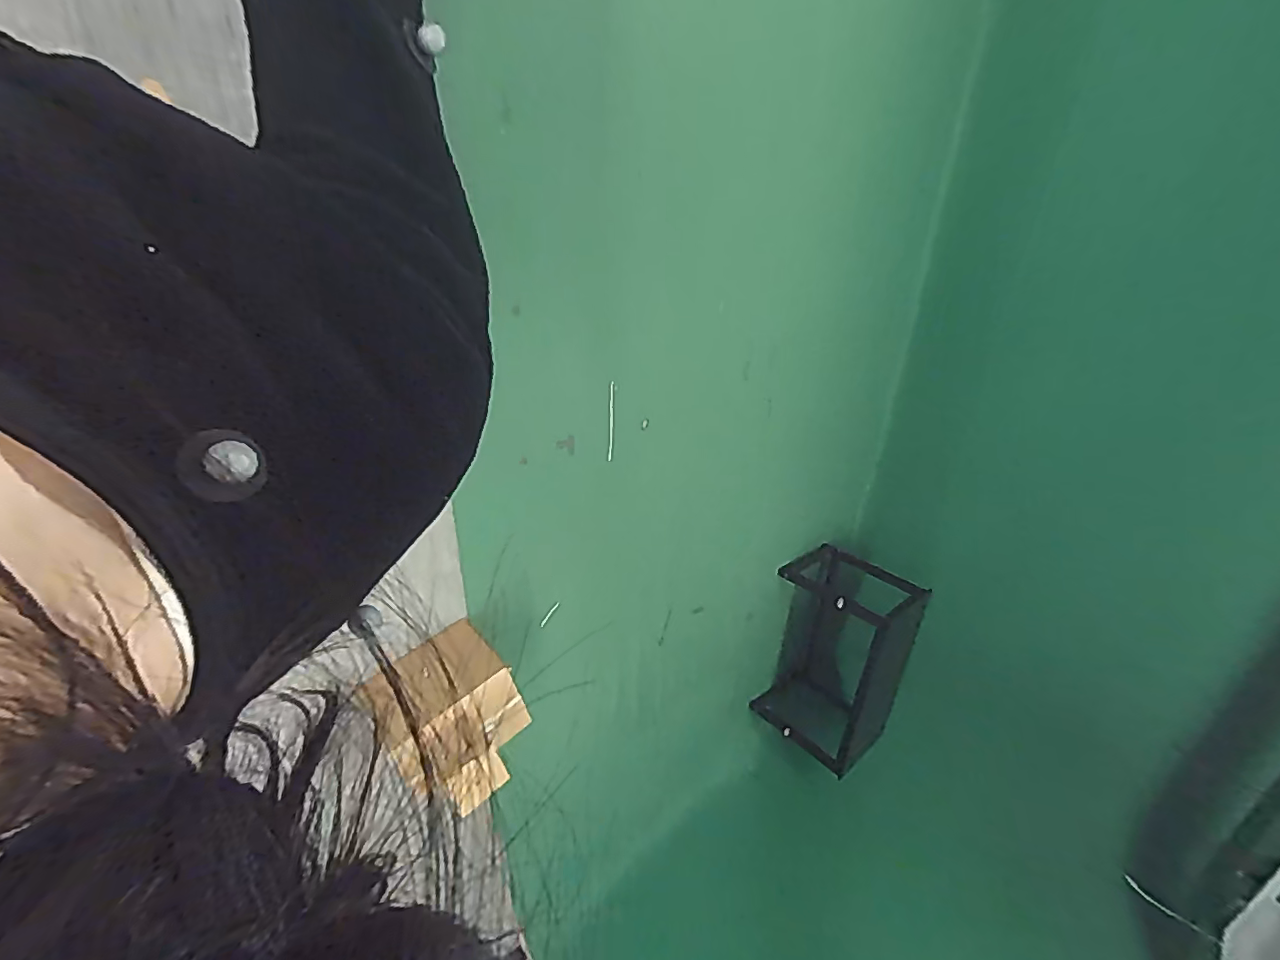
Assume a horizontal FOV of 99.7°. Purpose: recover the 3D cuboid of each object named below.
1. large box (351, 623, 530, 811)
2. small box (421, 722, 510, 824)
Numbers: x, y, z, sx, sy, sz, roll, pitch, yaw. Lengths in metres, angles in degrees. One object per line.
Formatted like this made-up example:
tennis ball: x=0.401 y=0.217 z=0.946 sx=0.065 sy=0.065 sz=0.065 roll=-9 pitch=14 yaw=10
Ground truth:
large box: x=-0.646 y=0.759 z=1.780 sx=0.408 sy=0.320 sz=0.320 roll=-34 pitch=131 yaw=-31
small box: x=-0.514 y=0.848 z=1.587 sx=0.168 sy=0.176 sz=0.179 roll=-32 pitch=129 yaw=-30
